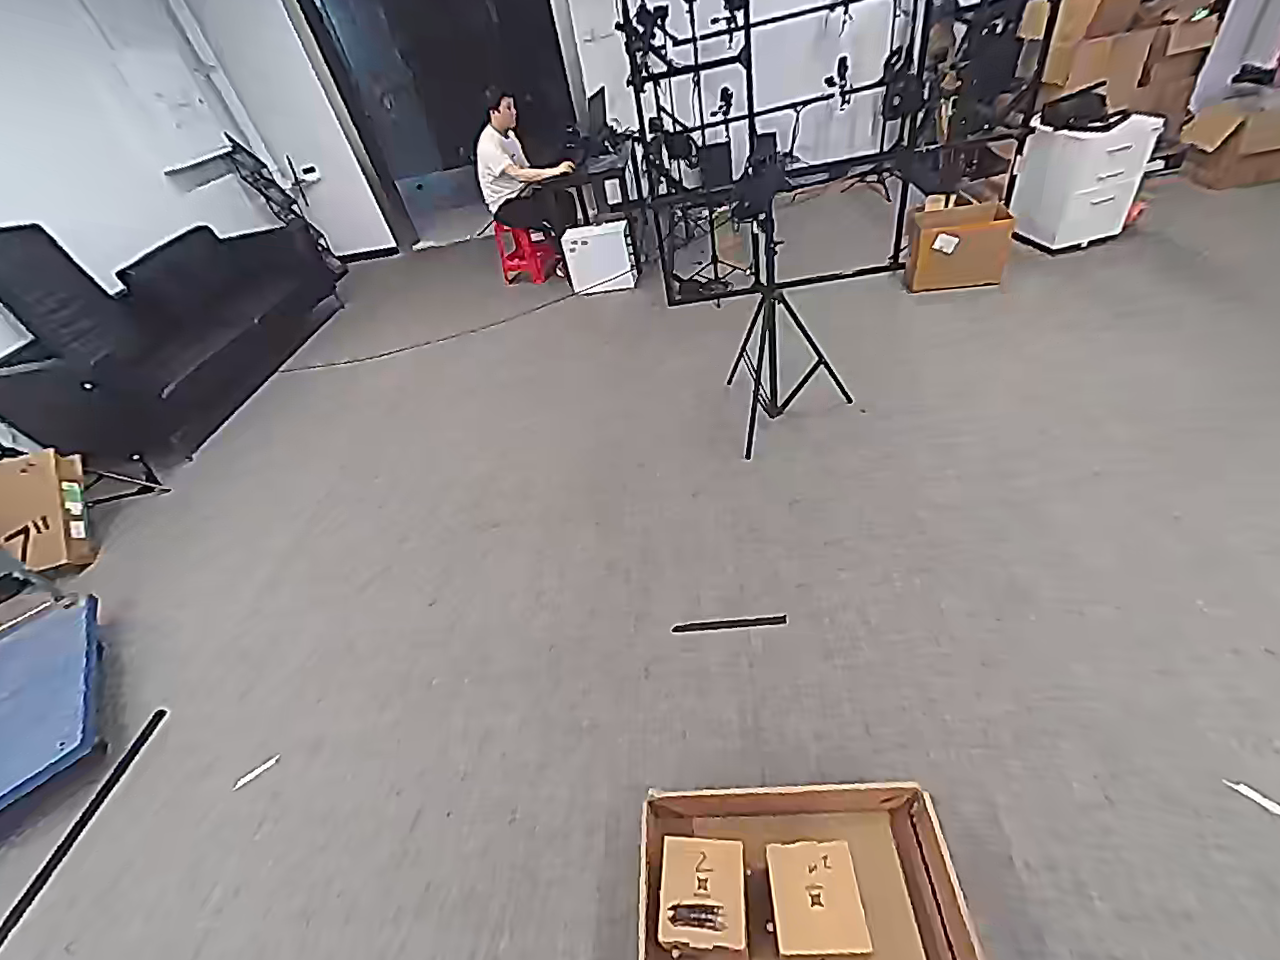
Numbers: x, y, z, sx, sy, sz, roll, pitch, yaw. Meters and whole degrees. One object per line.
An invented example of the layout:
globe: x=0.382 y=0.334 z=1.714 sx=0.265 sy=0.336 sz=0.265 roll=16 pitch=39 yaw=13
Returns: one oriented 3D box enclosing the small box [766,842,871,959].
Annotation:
small box: x=0.351 y=0.852 z=1.085 sx=0.168 sy=0.176 sz=0.179 roll=-7 pitch=42 yaw=8
